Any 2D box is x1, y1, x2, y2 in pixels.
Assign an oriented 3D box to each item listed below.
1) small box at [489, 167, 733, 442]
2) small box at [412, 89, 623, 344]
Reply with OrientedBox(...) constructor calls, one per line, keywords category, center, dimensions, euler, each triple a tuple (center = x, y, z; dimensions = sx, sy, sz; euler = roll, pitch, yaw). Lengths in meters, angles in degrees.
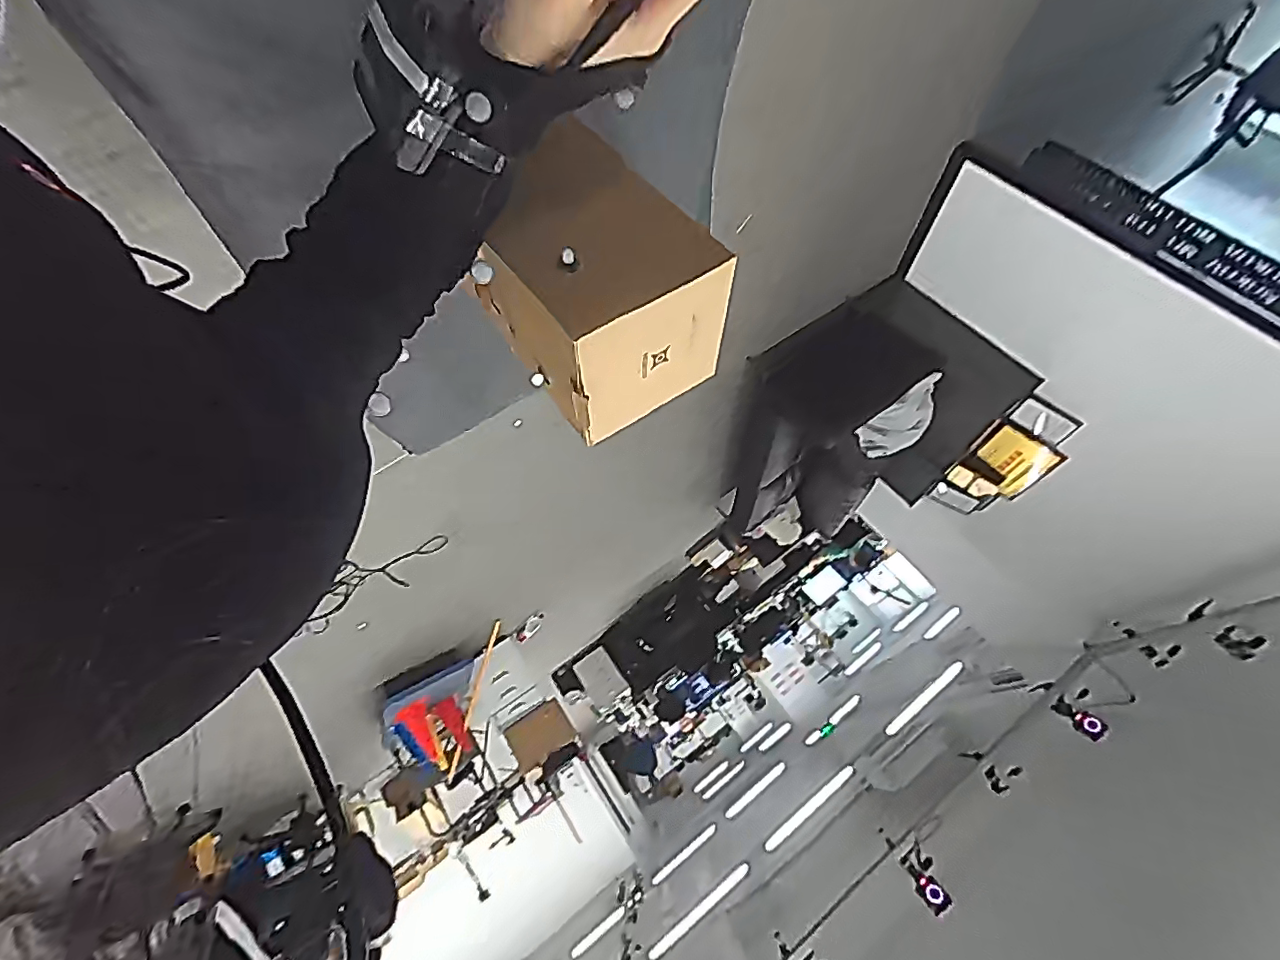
OrientedBox(category="small box", center=(-0.035, -0.178, 0.554), dimensions=(0.179, 0.176, 0.168), euler=(-34, 158, -16))
OrientedBox(category="small box", center=(-0.132, -0.296, 0.613), dimensions=(0.179, 0.176, 0.168), euler=(-34, 157, -14))
